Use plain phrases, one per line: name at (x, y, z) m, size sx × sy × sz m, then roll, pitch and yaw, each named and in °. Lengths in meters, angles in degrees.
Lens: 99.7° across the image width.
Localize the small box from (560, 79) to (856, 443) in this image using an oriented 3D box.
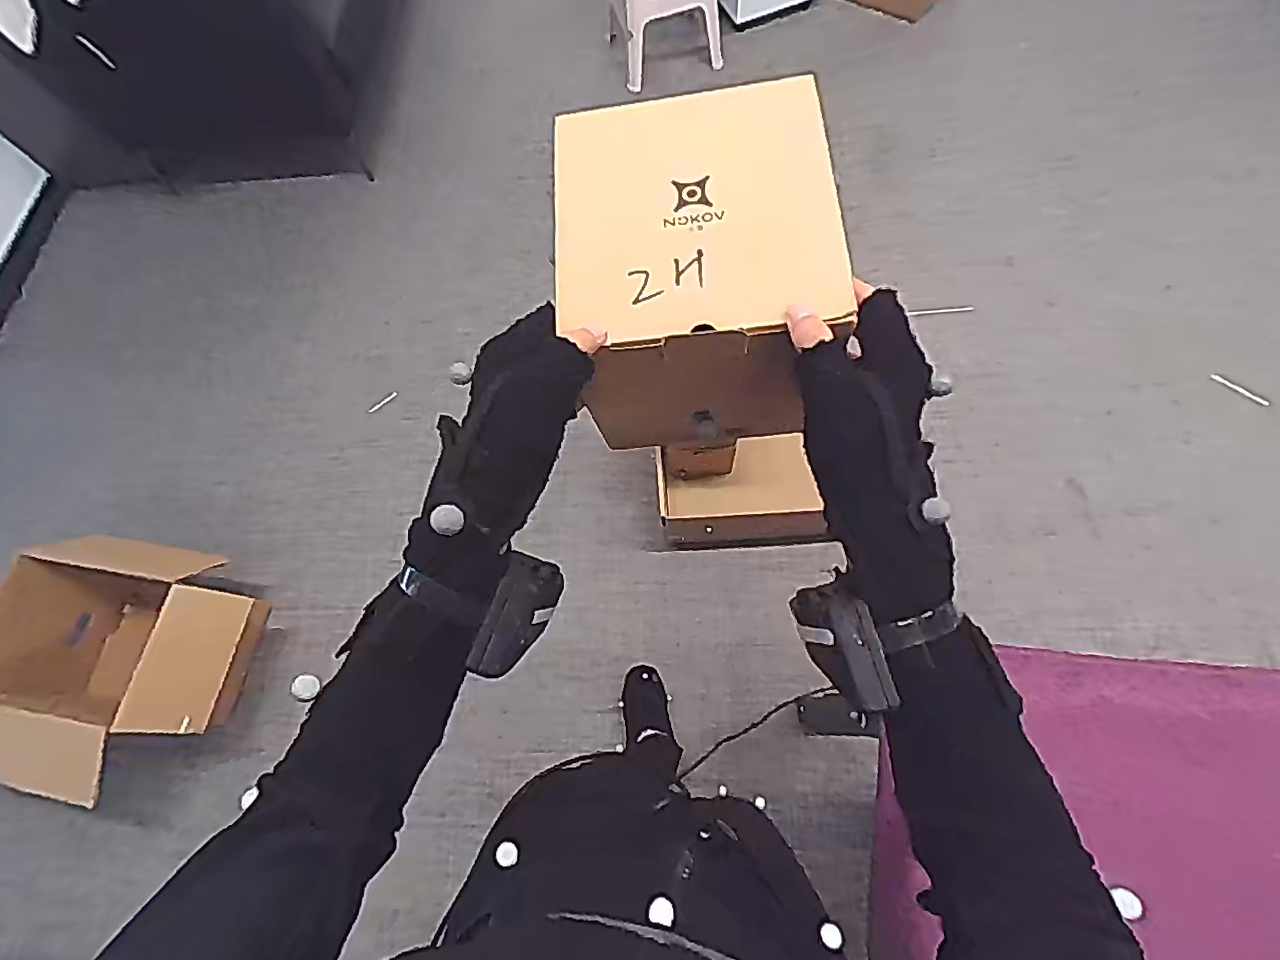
small box at (0.043, -0.142, 0.398) m, size 0.168 × 0.176 × 0.179 m, roll -4°, pitch 73°, yaw 6°
